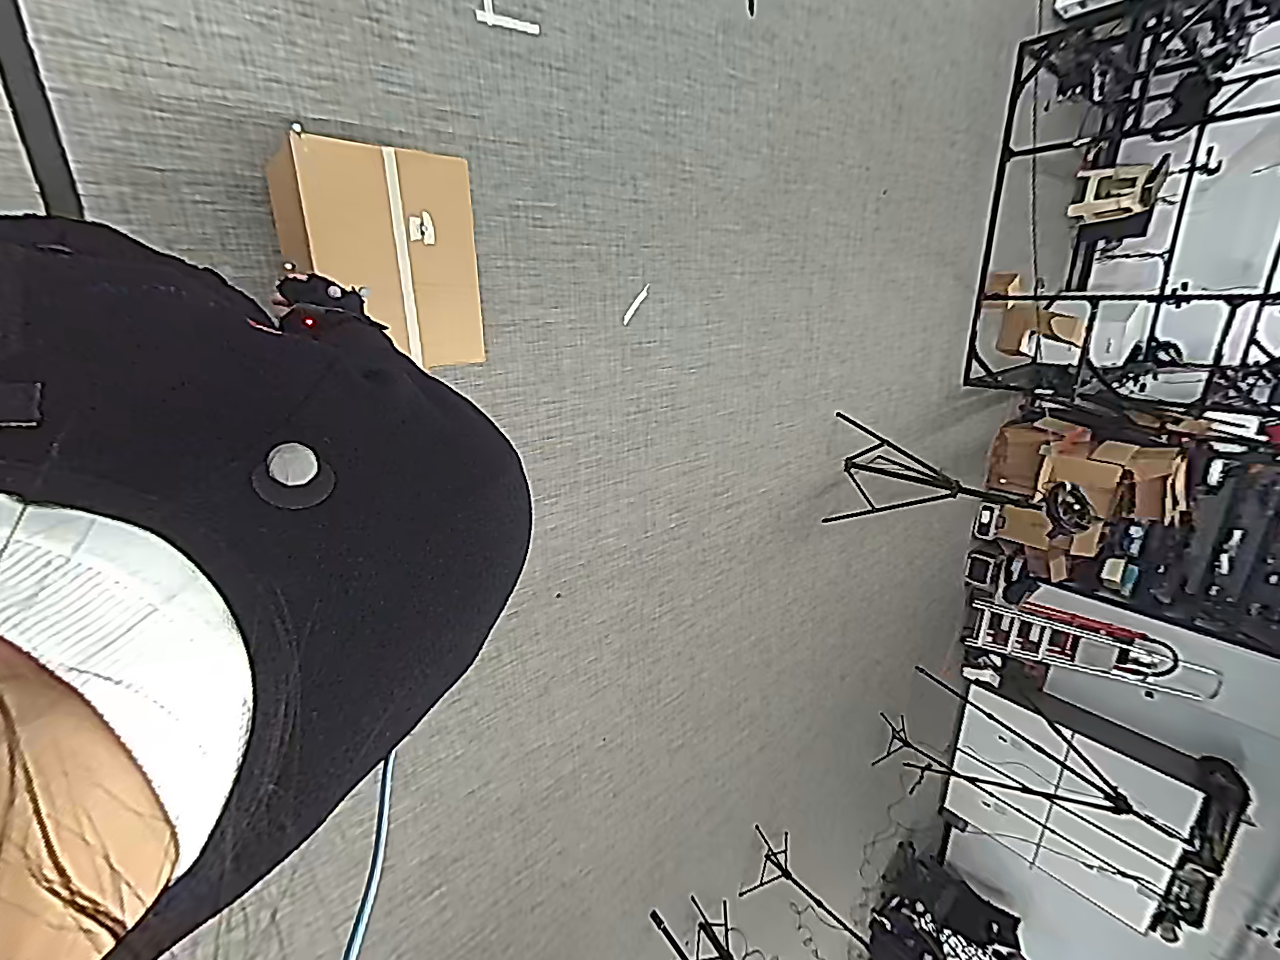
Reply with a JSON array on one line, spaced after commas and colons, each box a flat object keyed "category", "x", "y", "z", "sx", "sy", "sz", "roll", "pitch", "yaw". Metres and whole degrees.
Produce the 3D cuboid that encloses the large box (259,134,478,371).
[{"category": "large box", "x": -0.584, "y": -0.462, "z": 1.175, "sx": 0.320, "sy": 0.320, "sz": 0.408, "roll": -16, "pitch": 113, "yaw": -39}]
